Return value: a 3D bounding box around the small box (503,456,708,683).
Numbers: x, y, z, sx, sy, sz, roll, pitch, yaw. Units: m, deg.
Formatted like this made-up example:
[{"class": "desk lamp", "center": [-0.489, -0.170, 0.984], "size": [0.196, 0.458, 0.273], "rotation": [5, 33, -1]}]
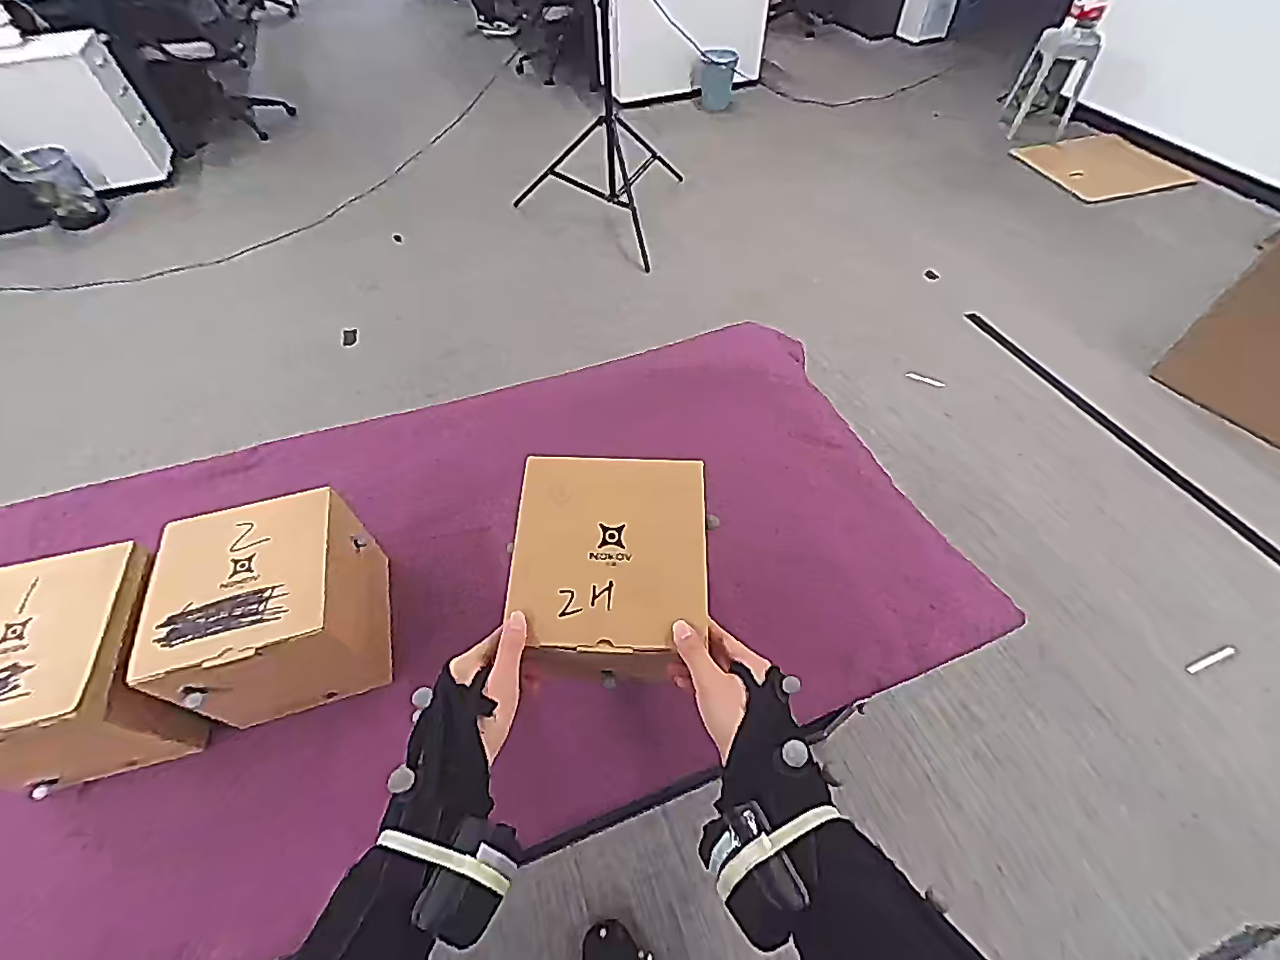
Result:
[{"class": "small box", "center": [-0.025, 0.094, 0.535], "size": [0.168, 0.176, 0.179], "rotation": [2, 63, 1]}]
